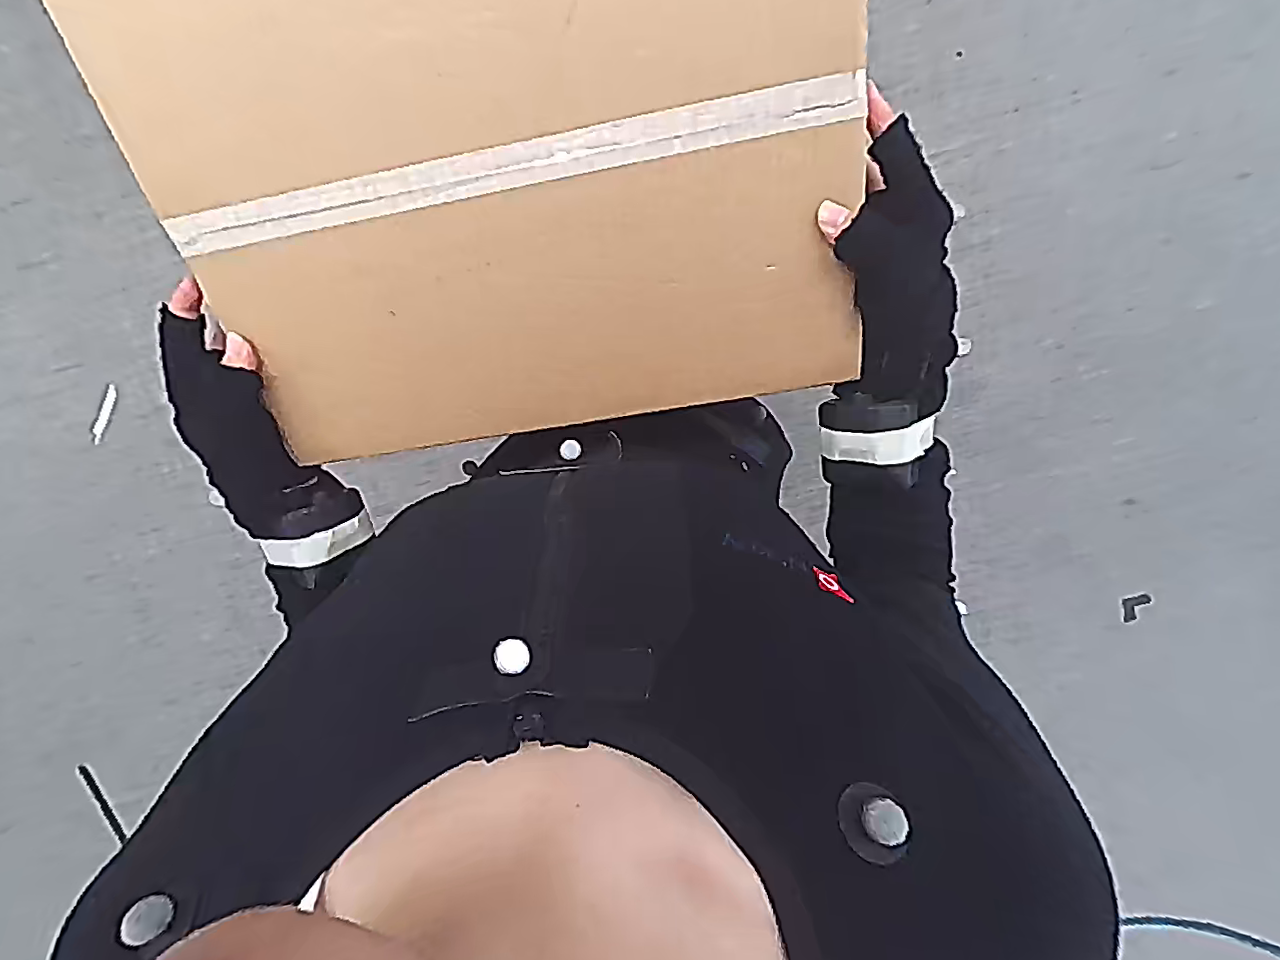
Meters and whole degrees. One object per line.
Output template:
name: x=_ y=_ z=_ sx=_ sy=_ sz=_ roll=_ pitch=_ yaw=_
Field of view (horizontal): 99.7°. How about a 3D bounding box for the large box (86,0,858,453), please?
large box: x=-0.074 y=-0.250 z=0.447 sx=0.408 sy=0.320 sz=0.320 roll=-8 pitch=119 yaw=6
